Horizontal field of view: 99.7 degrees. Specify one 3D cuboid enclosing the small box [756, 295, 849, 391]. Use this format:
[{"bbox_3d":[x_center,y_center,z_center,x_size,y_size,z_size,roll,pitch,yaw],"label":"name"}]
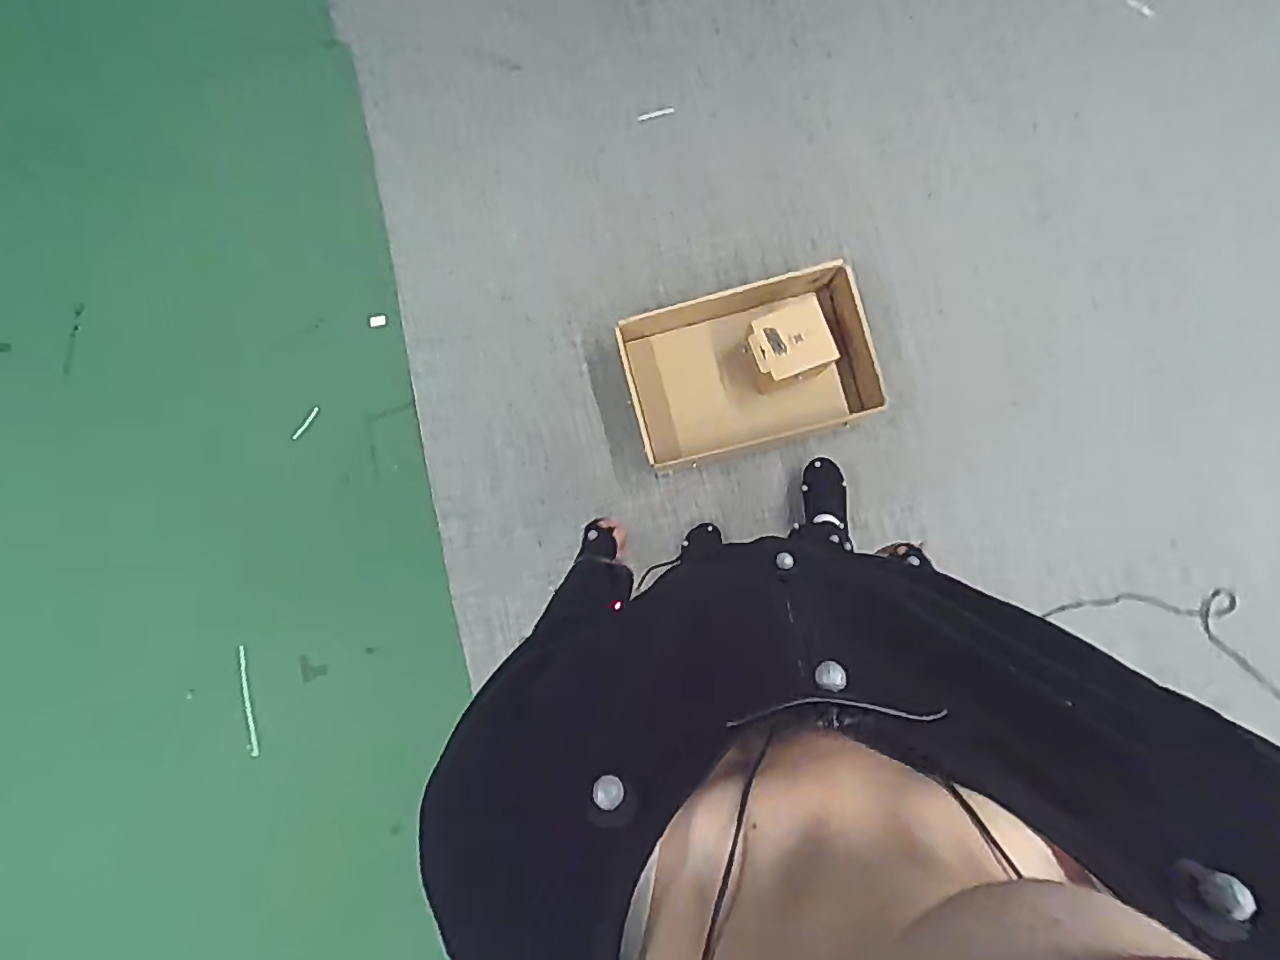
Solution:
[{"bbox_3d":[0.410,-0.345,1.404,0.179,0.176,0.168,-20,86,3],"label":"small box"}]
